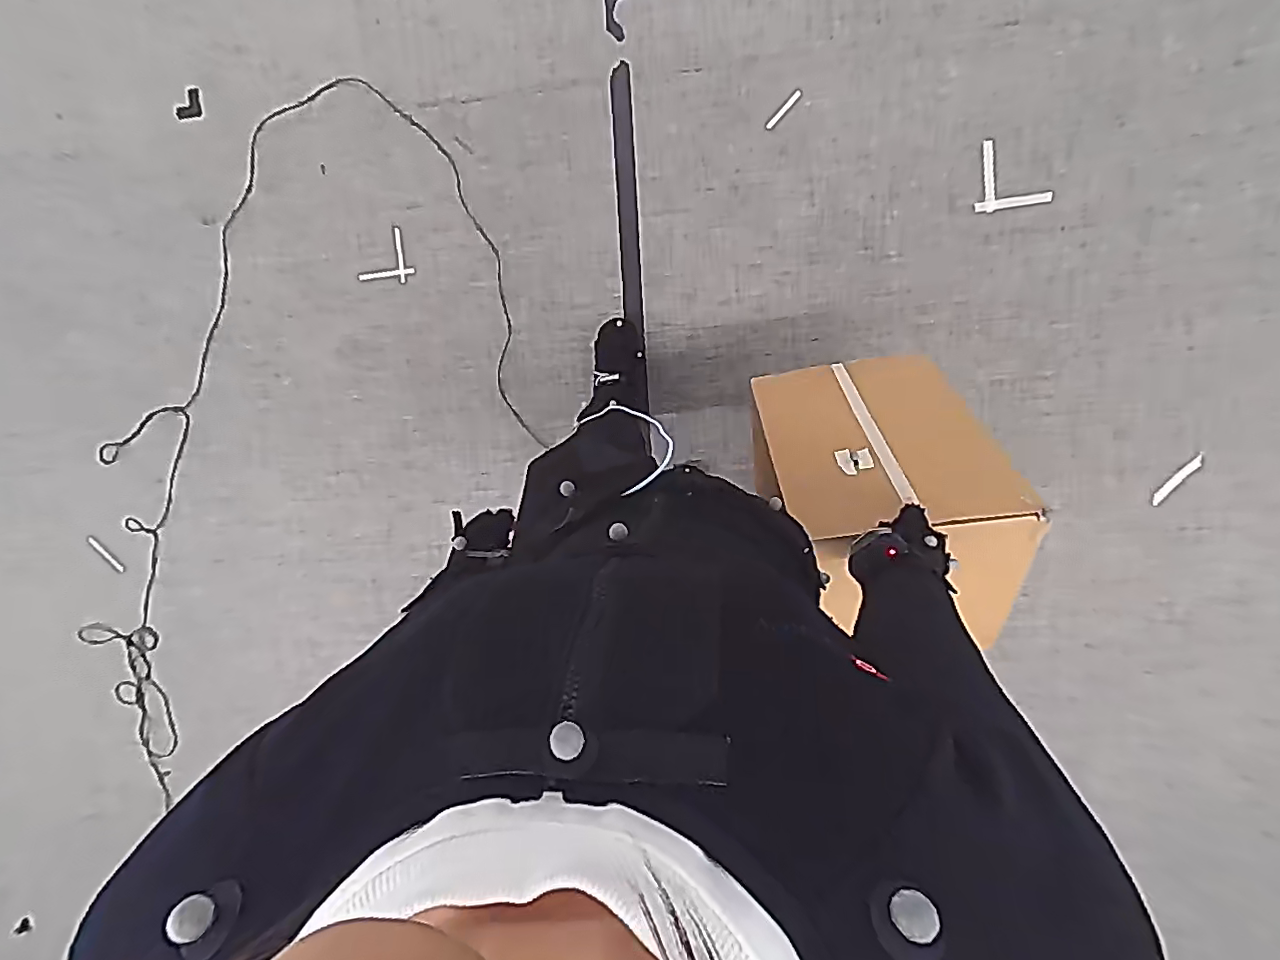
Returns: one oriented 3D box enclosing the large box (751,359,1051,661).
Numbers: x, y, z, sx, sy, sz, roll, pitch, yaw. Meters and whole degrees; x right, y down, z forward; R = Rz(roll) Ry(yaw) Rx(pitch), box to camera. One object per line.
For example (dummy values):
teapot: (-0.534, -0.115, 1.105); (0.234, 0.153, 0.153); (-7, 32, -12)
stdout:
large box: (0.383, 0.044, 0.932); (0.320, 0.408, 0.320); (-8, 132, 7)
